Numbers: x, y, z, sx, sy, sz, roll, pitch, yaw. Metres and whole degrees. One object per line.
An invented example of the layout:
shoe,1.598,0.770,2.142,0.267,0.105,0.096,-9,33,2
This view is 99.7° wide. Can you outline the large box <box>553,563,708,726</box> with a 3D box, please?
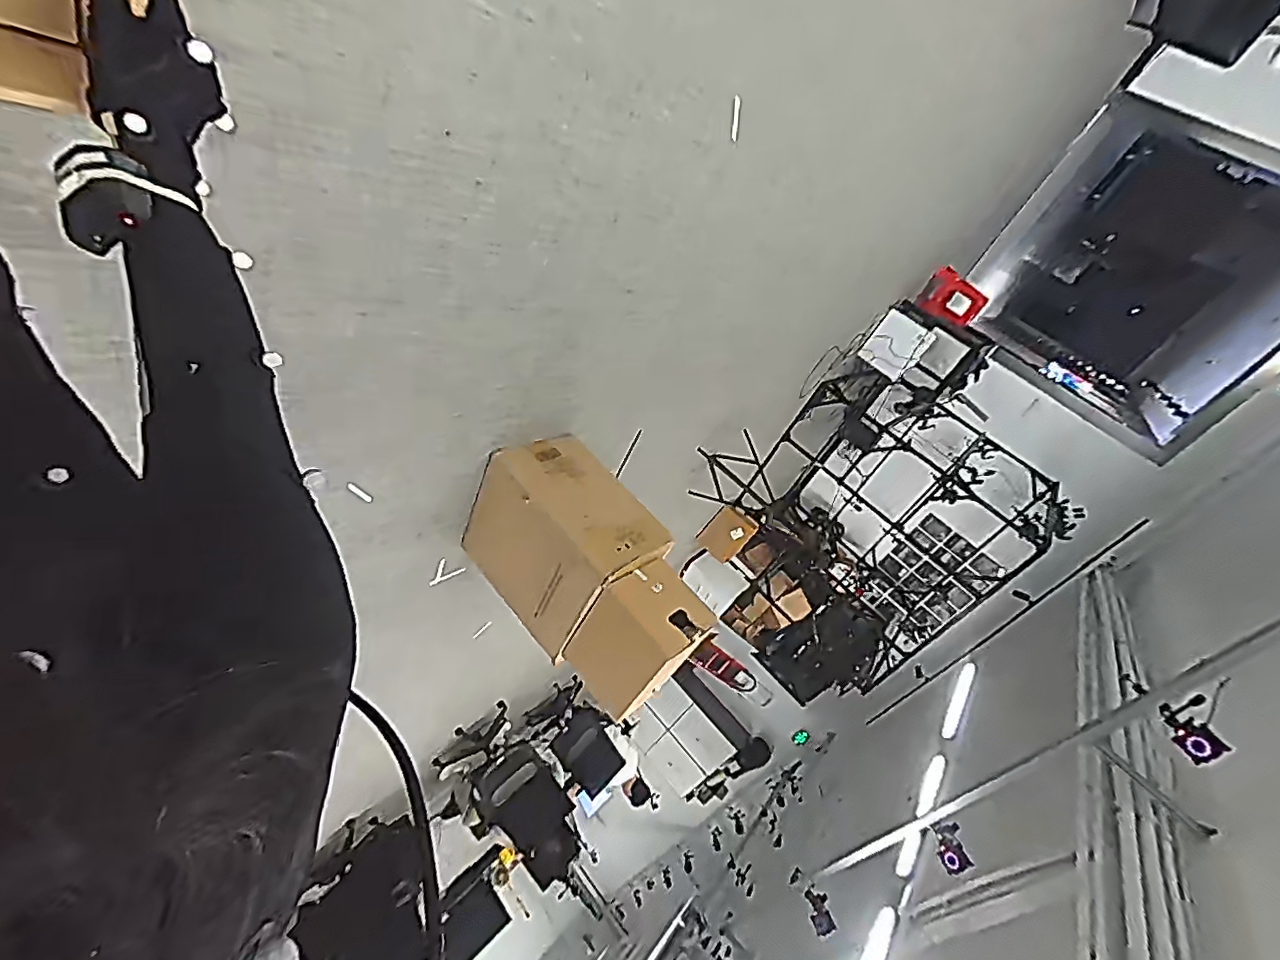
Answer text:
large box,-0.040,0.563,1.888,0.320,0.320,0.408,-17,146,-51
